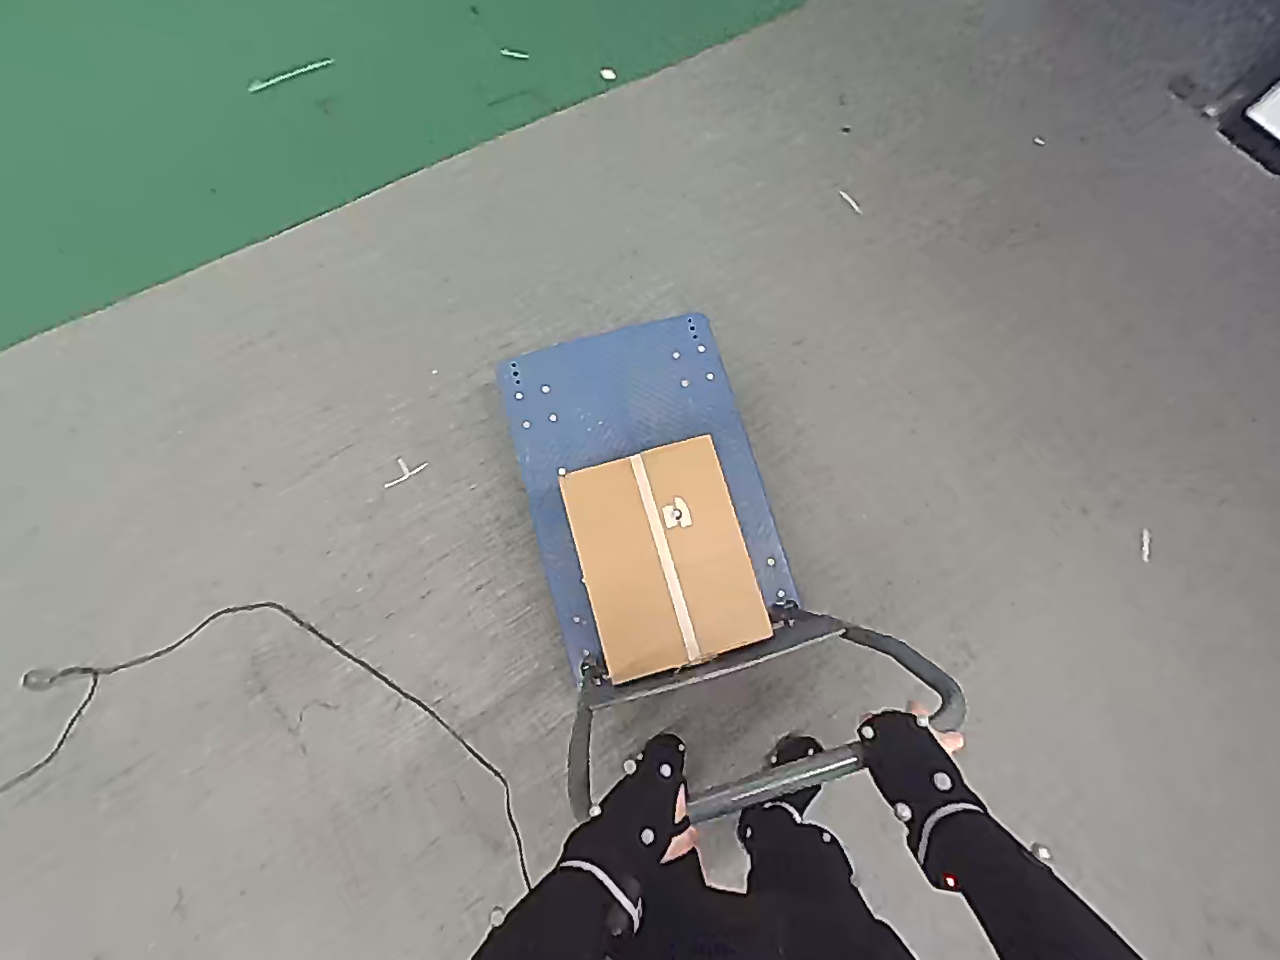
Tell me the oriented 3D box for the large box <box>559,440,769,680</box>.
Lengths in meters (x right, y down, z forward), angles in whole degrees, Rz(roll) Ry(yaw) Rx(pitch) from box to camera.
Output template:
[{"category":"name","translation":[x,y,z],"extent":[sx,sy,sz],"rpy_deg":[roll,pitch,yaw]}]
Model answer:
[{"category":"large box","translation":[0.041,0.176,1.191],"extent":[0.320,0.320,0.408],"rpy_deg":[-16,79,-5]}]
